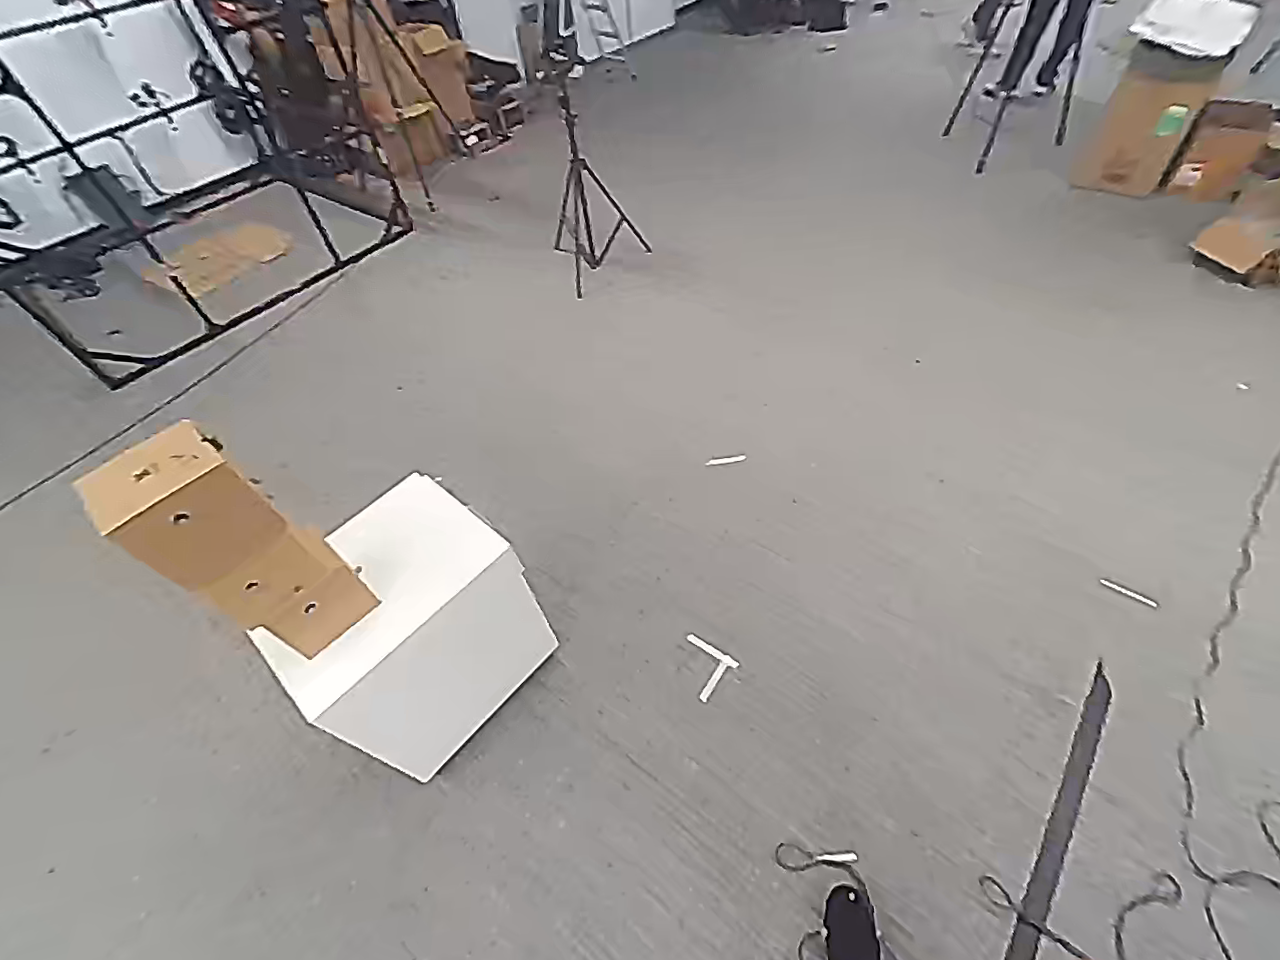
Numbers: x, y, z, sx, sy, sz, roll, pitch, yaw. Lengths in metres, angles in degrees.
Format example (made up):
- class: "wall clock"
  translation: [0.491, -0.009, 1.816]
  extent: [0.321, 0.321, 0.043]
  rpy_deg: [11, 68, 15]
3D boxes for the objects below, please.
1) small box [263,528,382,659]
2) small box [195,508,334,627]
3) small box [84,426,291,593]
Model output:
- class: "small box"
  translation: [-0.691, 0.244, 1.147]
  extent: [0.168, 0.176, 0.179]
  rpy_deg: [32, 60, 30]
- class: "small box"
  translation: [-0.719, 0.150, 1.016]
  extent: [0.179, 0.176, 0.168]
  rpy_deg: [34, 61, 31]
- class: "small box"
  translation: [-0.727, 0.051, 0.884]
  extent: [0.168, 0.176, 0.179]
  rpy_deg: [31, 60, 29]
